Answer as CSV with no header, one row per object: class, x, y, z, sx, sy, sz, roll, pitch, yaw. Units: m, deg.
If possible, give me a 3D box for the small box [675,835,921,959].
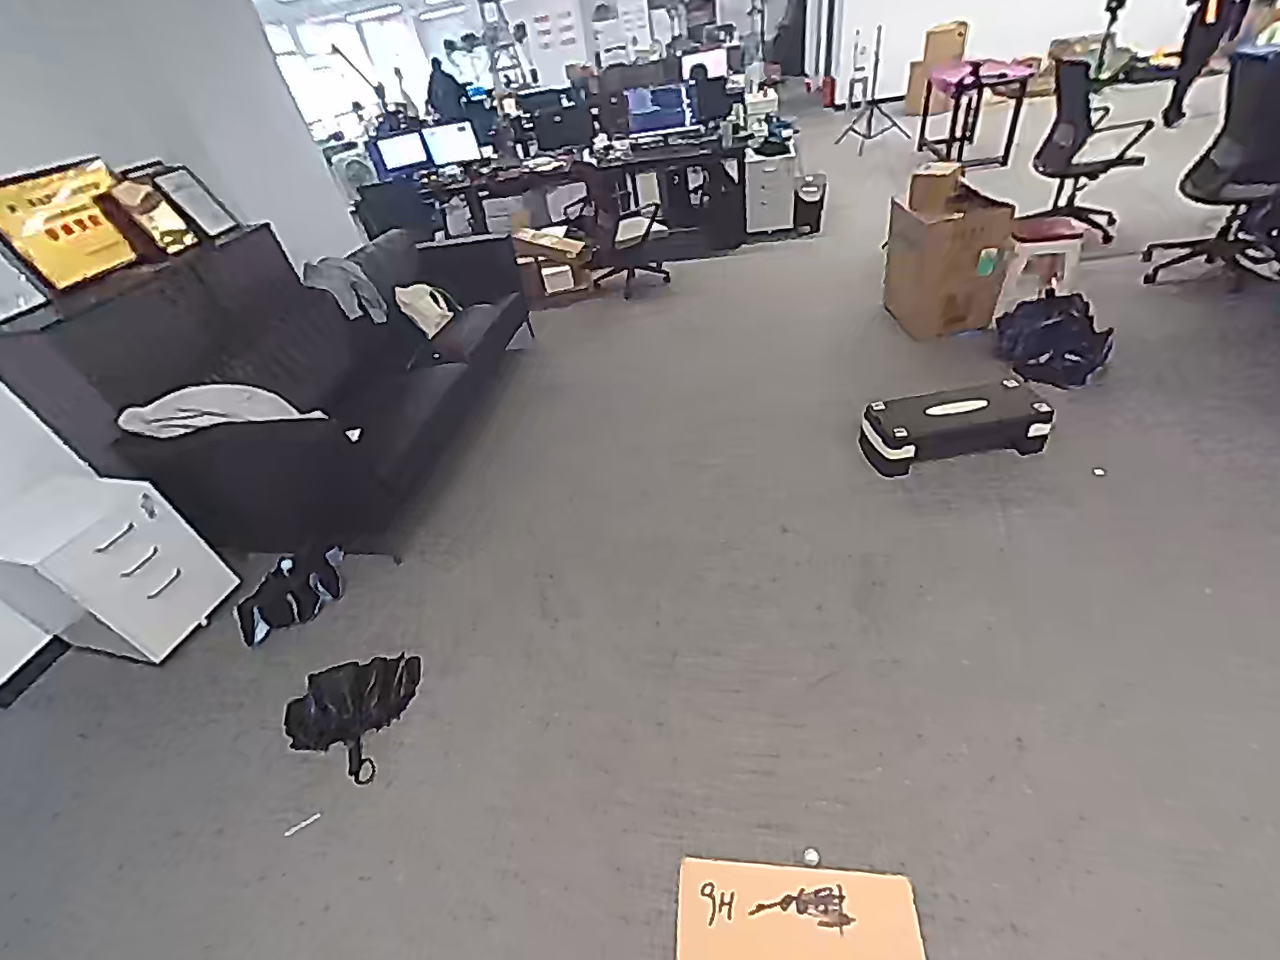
small box,0.114,0.393,0.414,0.168,0.176,0.179,-1,49,8
